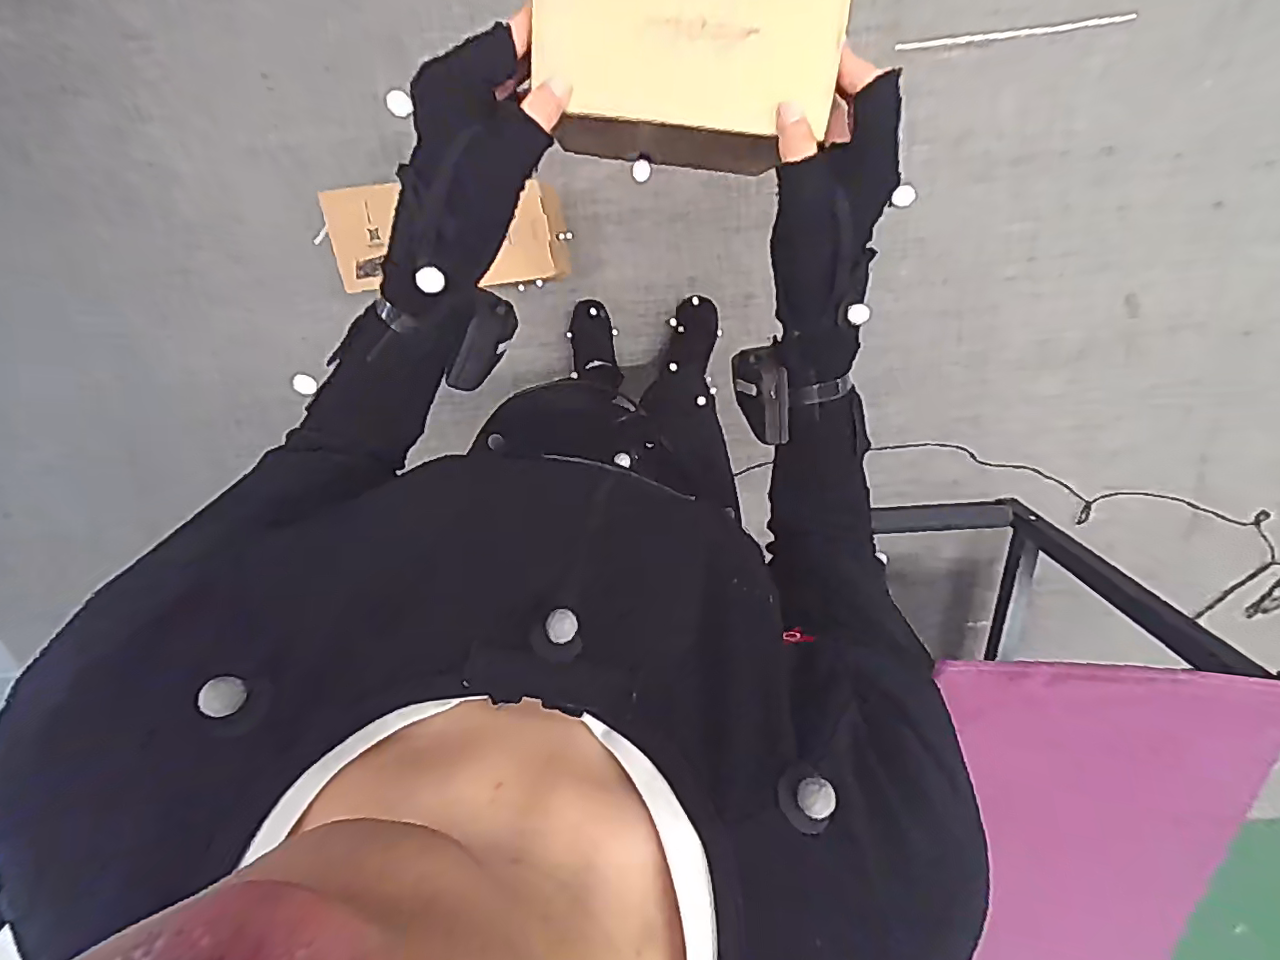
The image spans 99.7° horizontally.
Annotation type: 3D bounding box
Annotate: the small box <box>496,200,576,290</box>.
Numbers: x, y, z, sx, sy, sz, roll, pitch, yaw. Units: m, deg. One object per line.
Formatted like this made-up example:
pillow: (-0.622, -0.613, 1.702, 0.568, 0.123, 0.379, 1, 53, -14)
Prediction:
small box: (-0.244, -0.529, 1.212, 0.168, 0.176, 0.179, -6, 112, 4)

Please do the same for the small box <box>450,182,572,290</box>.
small box: (-0.242, -0.471, 1.059, 0.179, 0.176, 0.168, -7, 113, 4)

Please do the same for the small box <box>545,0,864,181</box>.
small box: (0.035, -0.303, 0.341, 0.168, 0.176, 0.179, 4, 114, -2)
